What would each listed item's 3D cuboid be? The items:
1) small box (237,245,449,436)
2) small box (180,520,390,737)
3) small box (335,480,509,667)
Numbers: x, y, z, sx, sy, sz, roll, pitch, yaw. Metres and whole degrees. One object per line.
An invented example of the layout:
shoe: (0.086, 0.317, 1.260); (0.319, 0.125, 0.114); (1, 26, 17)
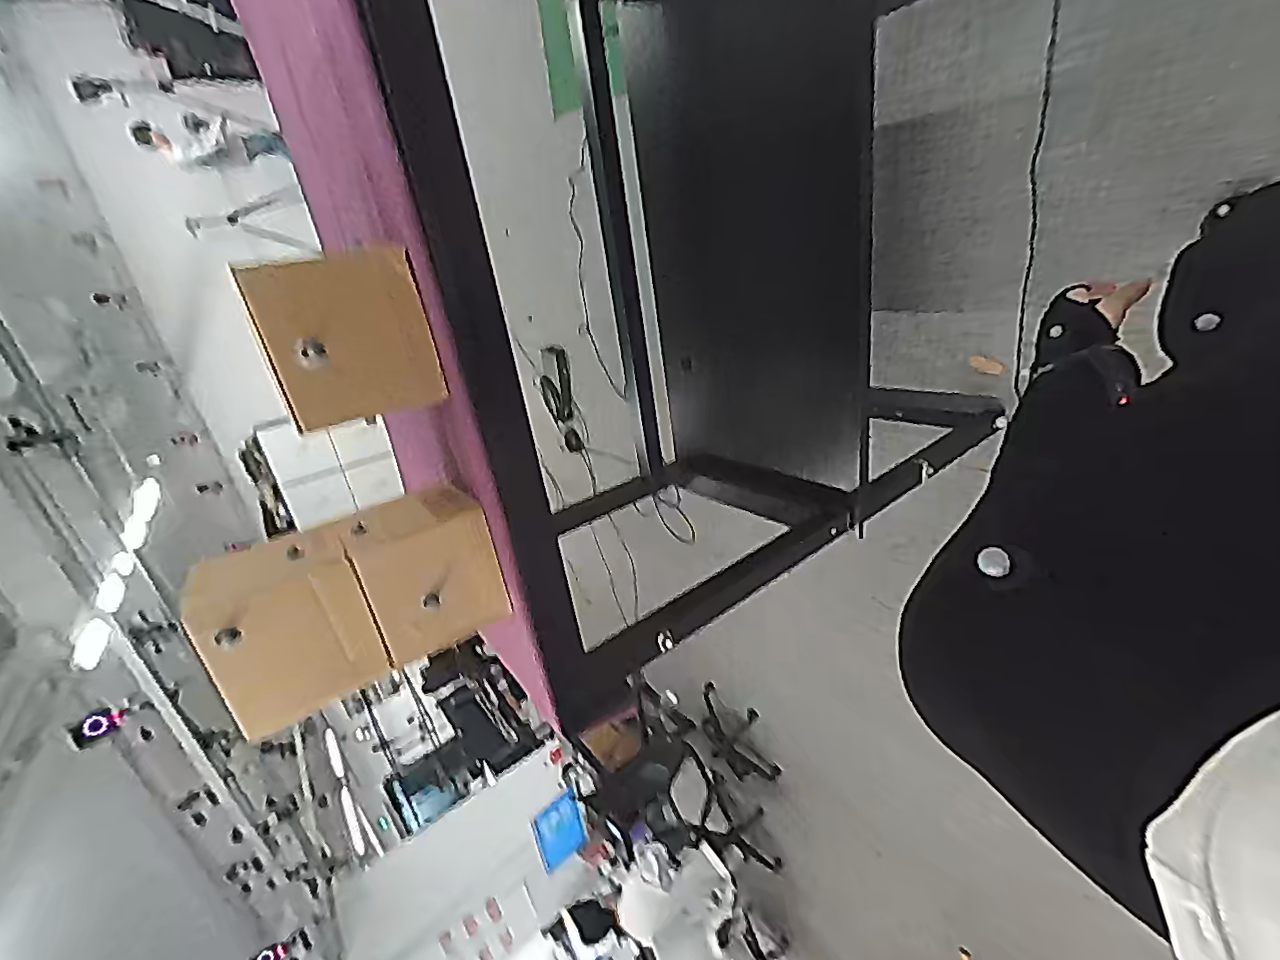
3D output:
small box: (-0.348, -0.170, 0.648); (0.168, 0.176, 0.179); (20, 126, 52)
small box: (-0.437, 0.173, 0.688); (0.168, 0.176, 0.179); (19, 123, 54)
small box: (-0.303, 0.120, 0.766); (0.168, 0.176, 0.179); (19, 125, 53)
